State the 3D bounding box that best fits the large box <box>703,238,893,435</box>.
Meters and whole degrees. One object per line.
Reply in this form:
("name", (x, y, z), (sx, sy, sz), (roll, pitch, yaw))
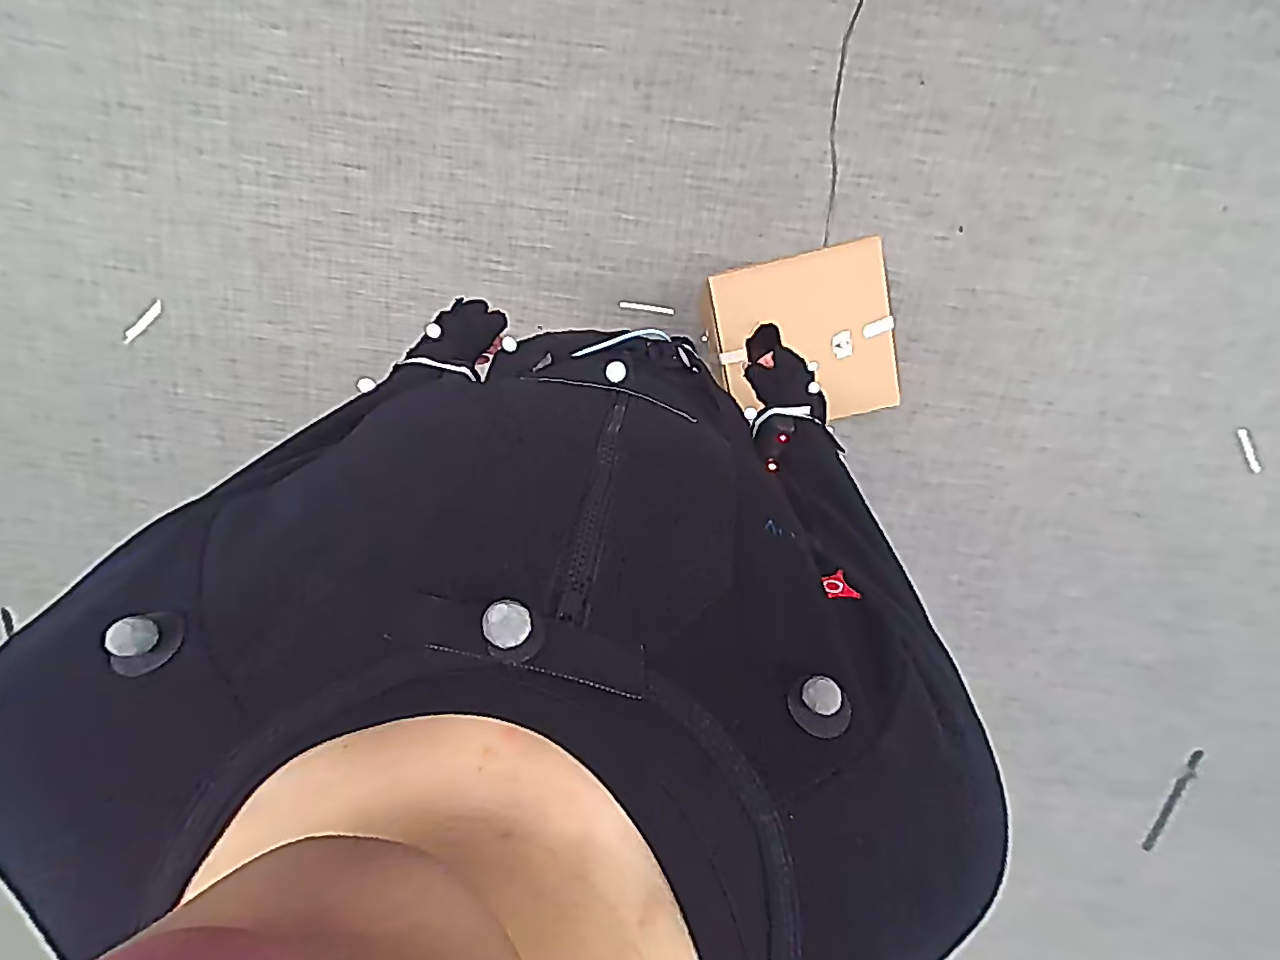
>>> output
("large box", (0.323, -0.307, 1.201), (0.320, 0.408, 0.320), (-11, 103, 8))
